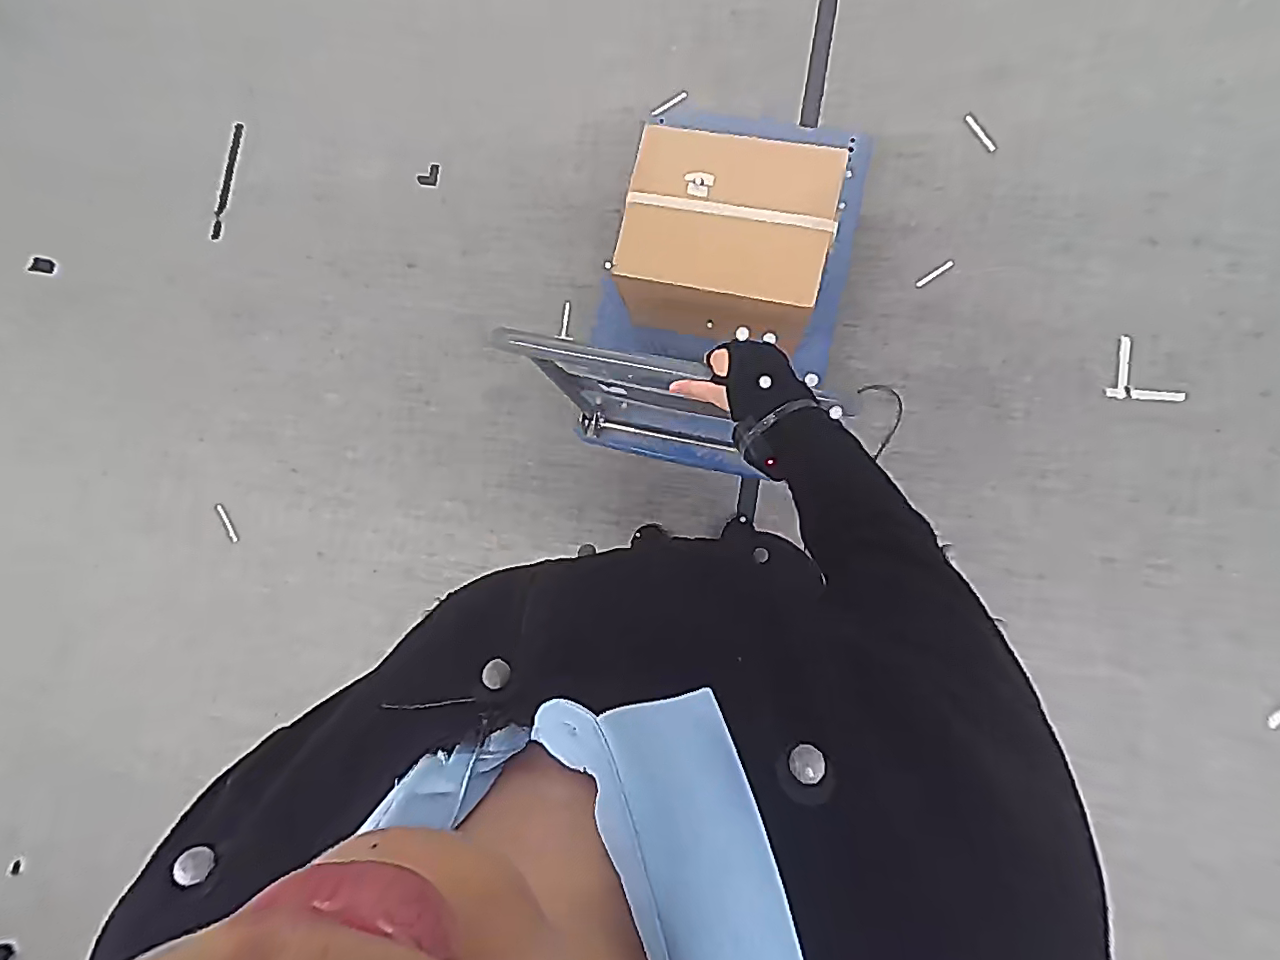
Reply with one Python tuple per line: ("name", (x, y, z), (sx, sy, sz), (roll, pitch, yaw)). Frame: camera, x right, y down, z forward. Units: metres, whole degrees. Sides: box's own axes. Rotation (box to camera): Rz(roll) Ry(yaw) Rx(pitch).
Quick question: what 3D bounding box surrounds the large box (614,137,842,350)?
("large box", (0.195, -0.507, 1.212), (0.408, 0.320, 0.320), (12, 88, 10))
